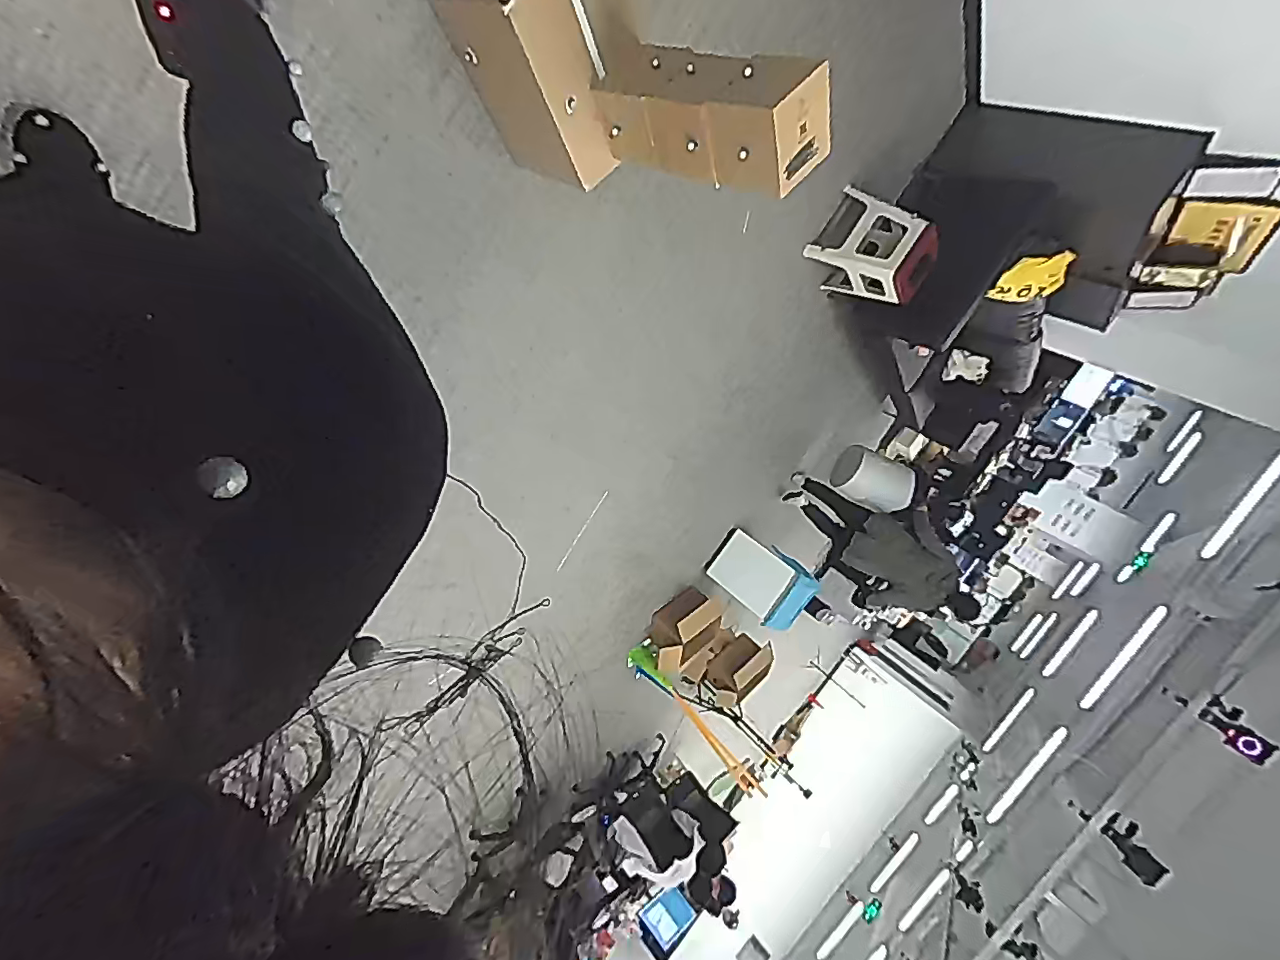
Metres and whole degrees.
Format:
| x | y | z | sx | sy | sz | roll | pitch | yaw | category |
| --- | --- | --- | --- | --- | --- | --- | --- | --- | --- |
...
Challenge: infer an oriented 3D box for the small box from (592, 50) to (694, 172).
| x | y | z | sx | sy | sz | roll | pitch | yaw | category |
| --- | --- | --- | --- | --- | --- | --- | --- | --- | --- |
| 0.023 | -0.853 | 1.247 | 0.179 | 0.176 | 0.168 | -48 | 147 | -10 | small box |

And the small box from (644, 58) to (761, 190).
| x | y | z | sx | sy | sz | roll | pitch | yaw | category |
| --- | --- | --- | --- | --- | --- | --- | --- | --- | --- |
| 0.136 | -0.769 | 1.167 | 0.168 | 0.176 | 0.179 | -47 | 146 | -12 | small box |
